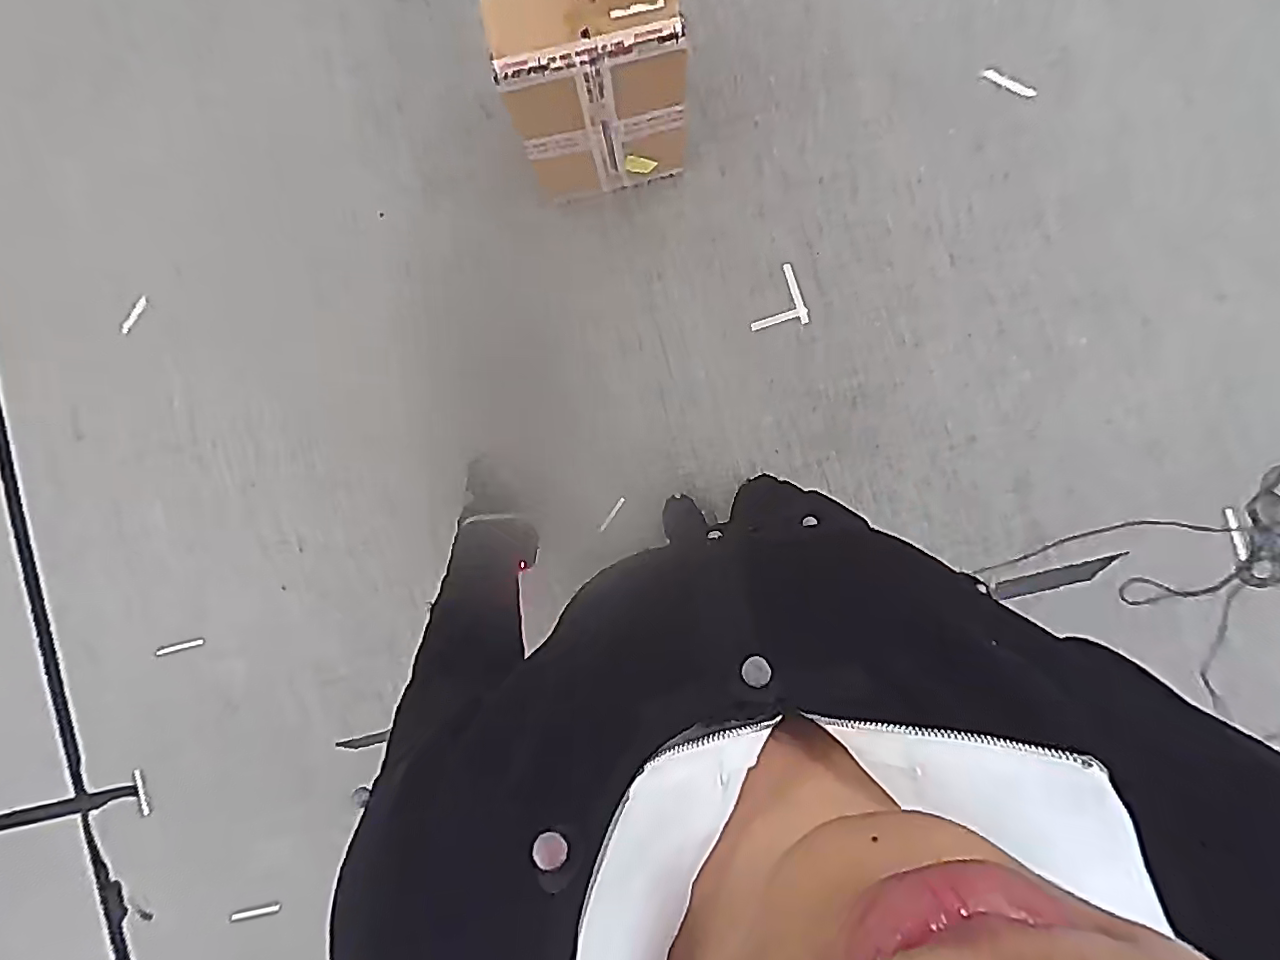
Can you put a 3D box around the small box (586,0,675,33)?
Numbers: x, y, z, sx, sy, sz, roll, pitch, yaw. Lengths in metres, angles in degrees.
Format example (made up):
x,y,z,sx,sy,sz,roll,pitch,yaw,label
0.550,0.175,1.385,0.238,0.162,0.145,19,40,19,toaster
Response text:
x,y,z,sx,sy,sz,roll,pitch,yaw,label
-0.026,-0.972,0.982,0.179,0.176,0.168,-12,89,2,small box
